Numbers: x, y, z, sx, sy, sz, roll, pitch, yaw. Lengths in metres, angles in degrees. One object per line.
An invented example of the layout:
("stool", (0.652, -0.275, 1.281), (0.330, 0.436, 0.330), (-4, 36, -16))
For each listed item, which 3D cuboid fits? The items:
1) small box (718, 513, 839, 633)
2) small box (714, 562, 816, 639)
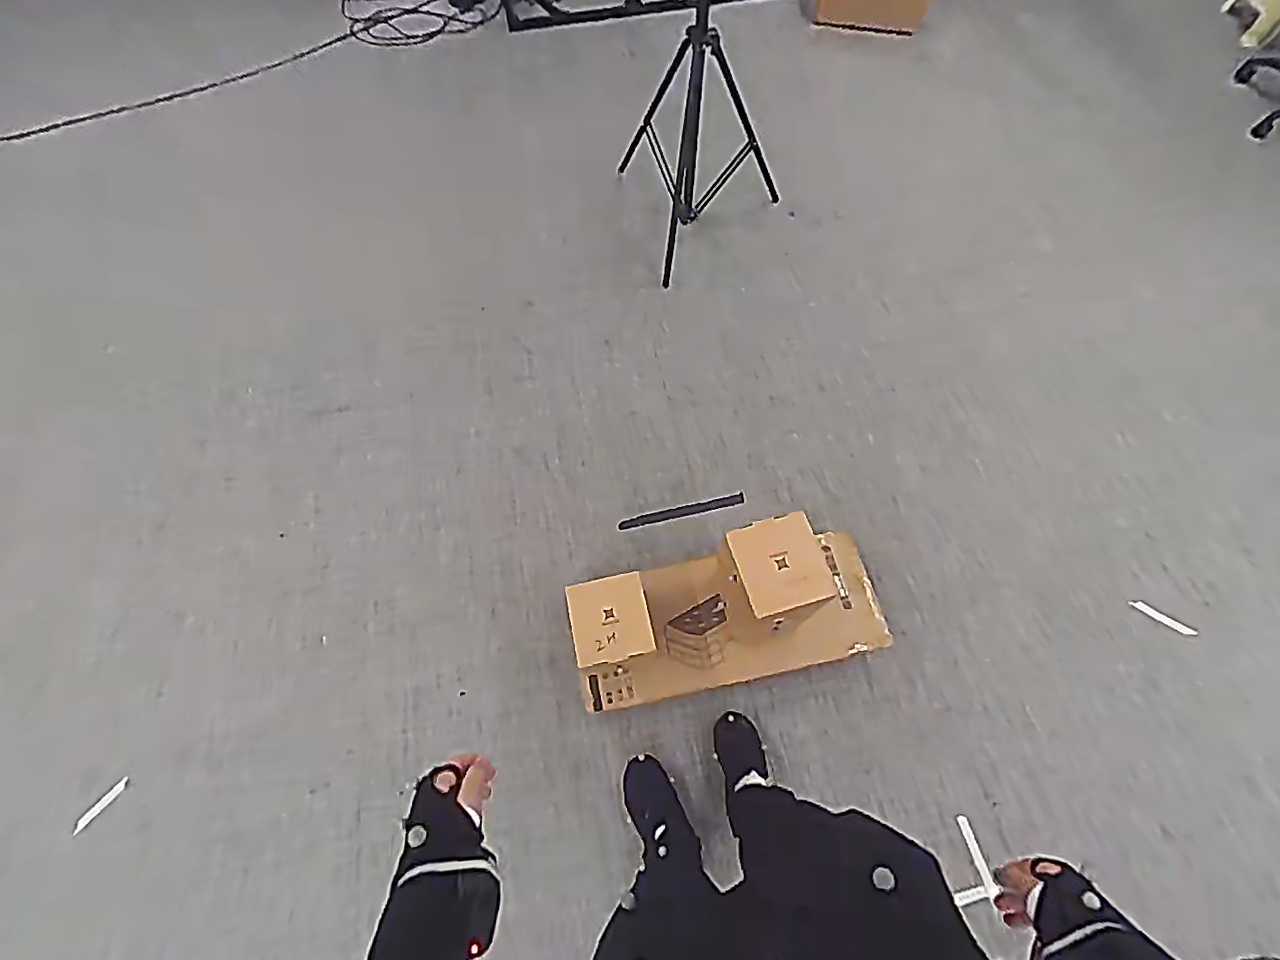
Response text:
("small box", (0.266, 0.192, 1.092), (0.168, 0.176, 0.179), (-16, 67, -6))
("small box", (0.277, 0.259, 1.241), (0.168, 0.176, 0.179), (-13, 67, -5))
